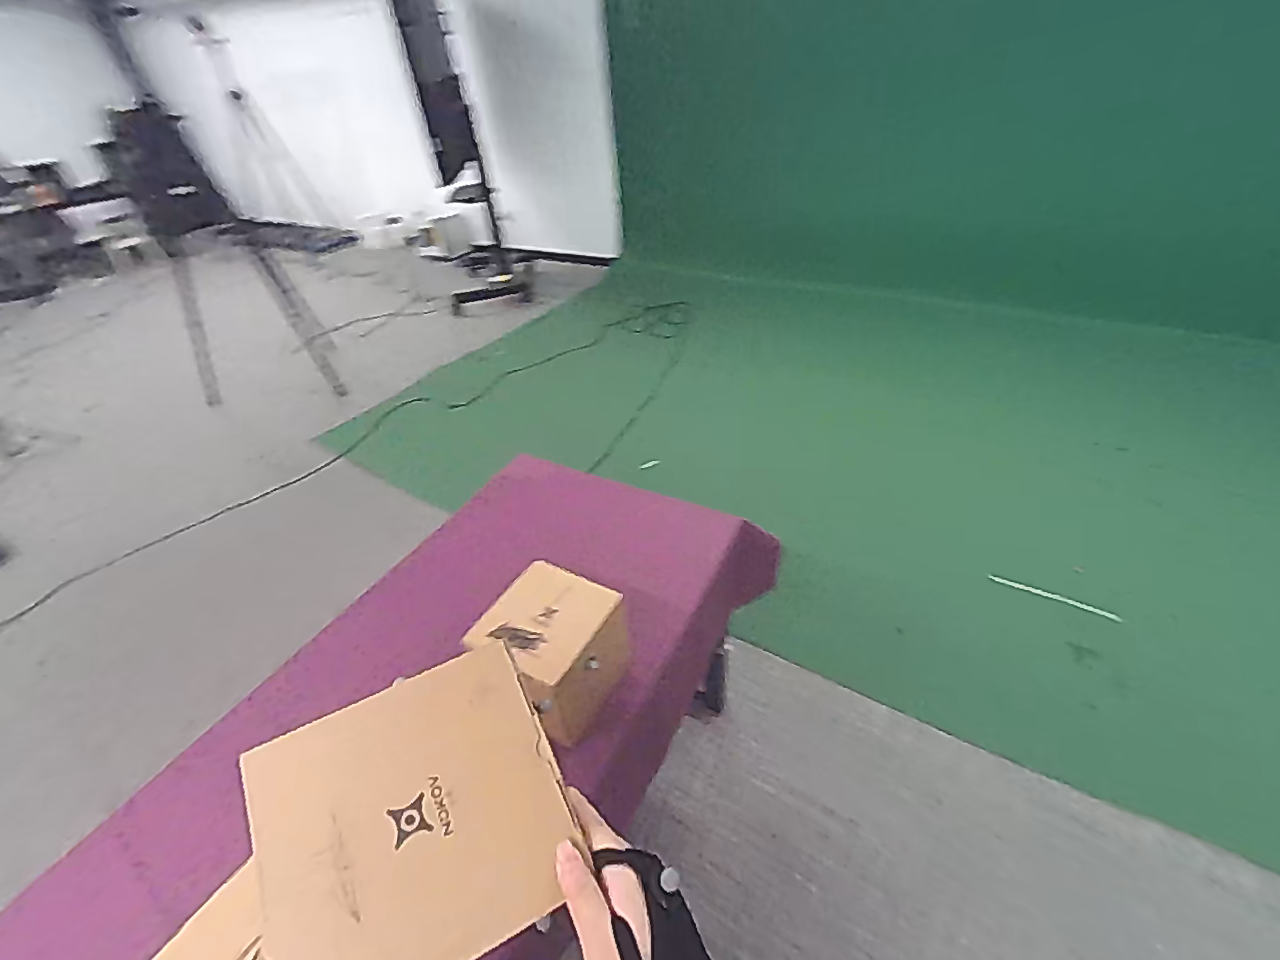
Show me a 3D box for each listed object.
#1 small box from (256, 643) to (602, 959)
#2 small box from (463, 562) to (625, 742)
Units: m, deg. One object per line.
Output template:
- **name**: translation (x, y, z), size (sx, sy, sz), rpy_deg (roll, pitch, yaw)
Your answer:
- **small box**: translation (-0.142, 0.249, 0.404), size (0.179, 0.176, 0.168), rpy_deg (-20, 63, -17)
- **small box**: translation (-0.135, 0.265, 0.838), size (0.168, 0.176, 0.179), rpy_deg (17, 43, 26)
